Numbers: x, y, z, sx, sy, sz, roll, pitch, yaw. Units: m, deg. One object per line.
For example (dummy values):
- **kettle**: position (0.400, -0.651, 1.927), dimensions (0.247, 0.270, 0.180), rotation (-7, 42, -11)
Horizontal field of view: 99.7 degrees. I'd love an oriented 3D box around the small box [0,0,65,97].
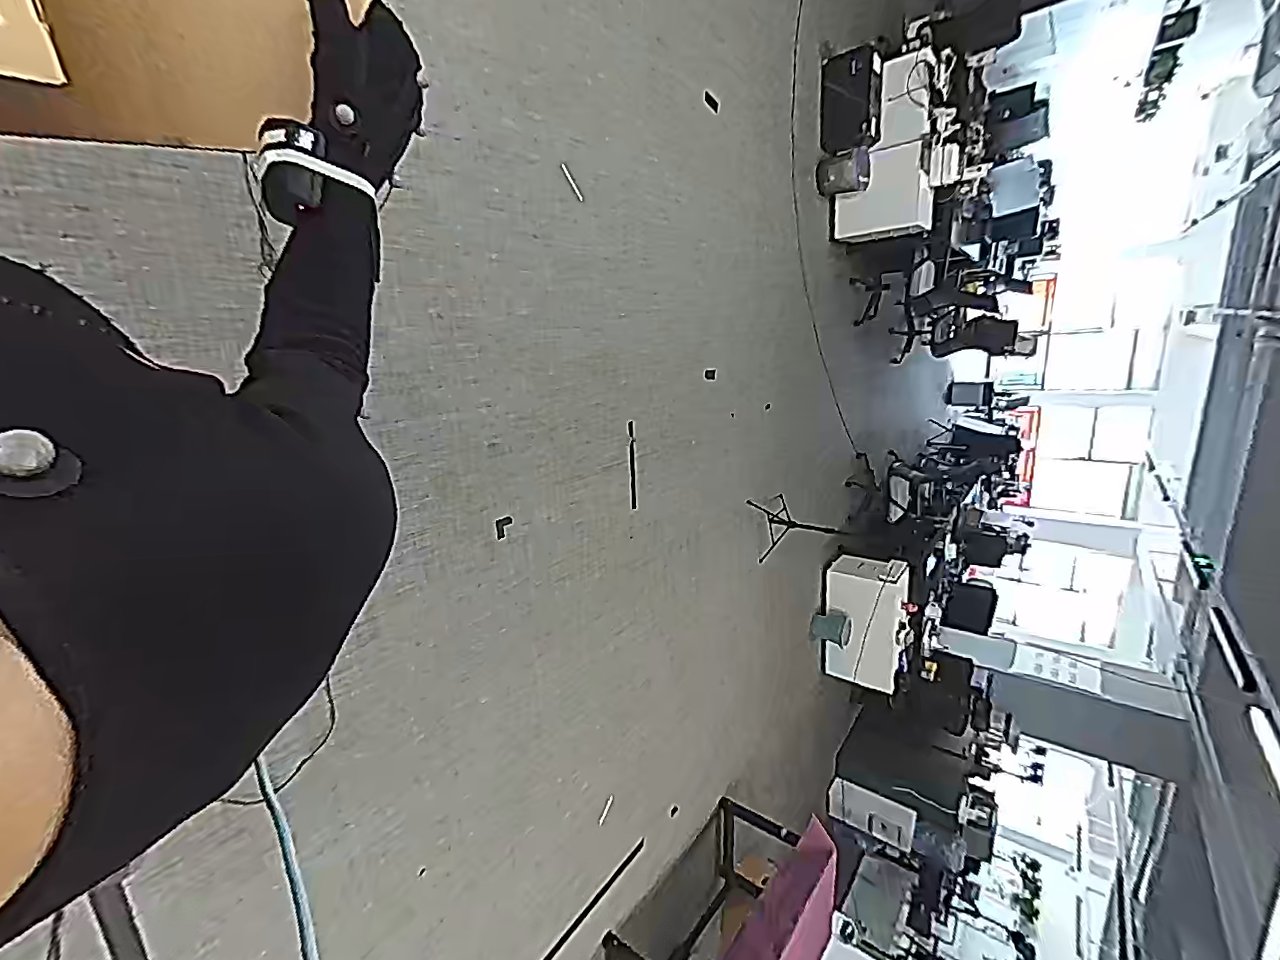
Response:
- **small box**: position (-0.460, -0.296, 0.257), dimensions (0.179, 0.176, 0.168), rotation (-44, 140, -56)
